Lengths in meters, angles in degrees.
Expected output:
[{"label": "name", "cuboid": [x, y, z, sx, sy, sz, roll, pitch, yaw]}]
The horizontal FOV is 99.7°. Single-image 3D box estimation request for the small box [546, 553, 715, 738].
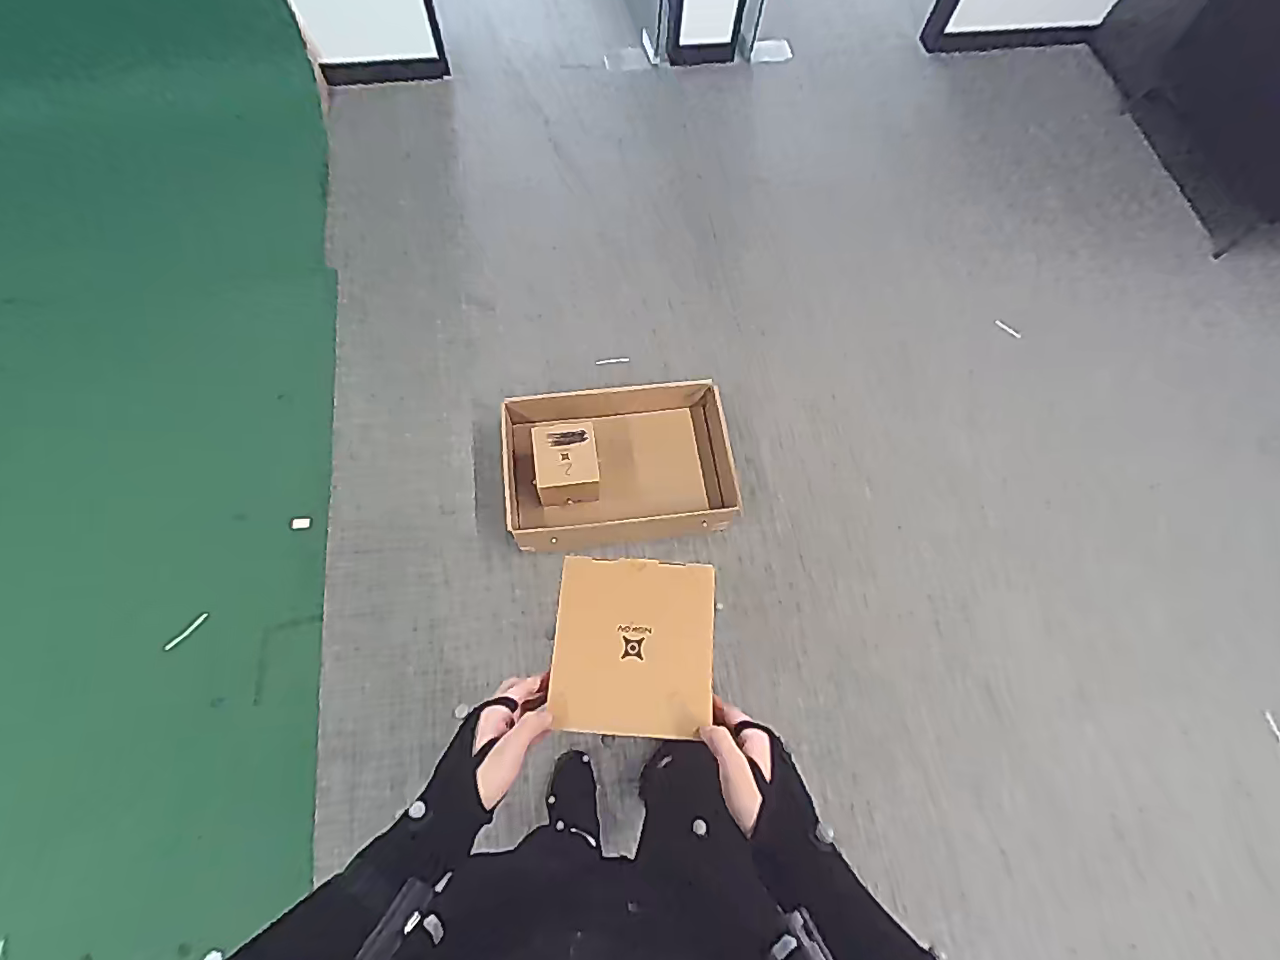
[{"label": "small box", "cuboid": [-0.005, 0.195, 0.632, 0.168, 0.176, 0.179, 4, 67, 1]}]
